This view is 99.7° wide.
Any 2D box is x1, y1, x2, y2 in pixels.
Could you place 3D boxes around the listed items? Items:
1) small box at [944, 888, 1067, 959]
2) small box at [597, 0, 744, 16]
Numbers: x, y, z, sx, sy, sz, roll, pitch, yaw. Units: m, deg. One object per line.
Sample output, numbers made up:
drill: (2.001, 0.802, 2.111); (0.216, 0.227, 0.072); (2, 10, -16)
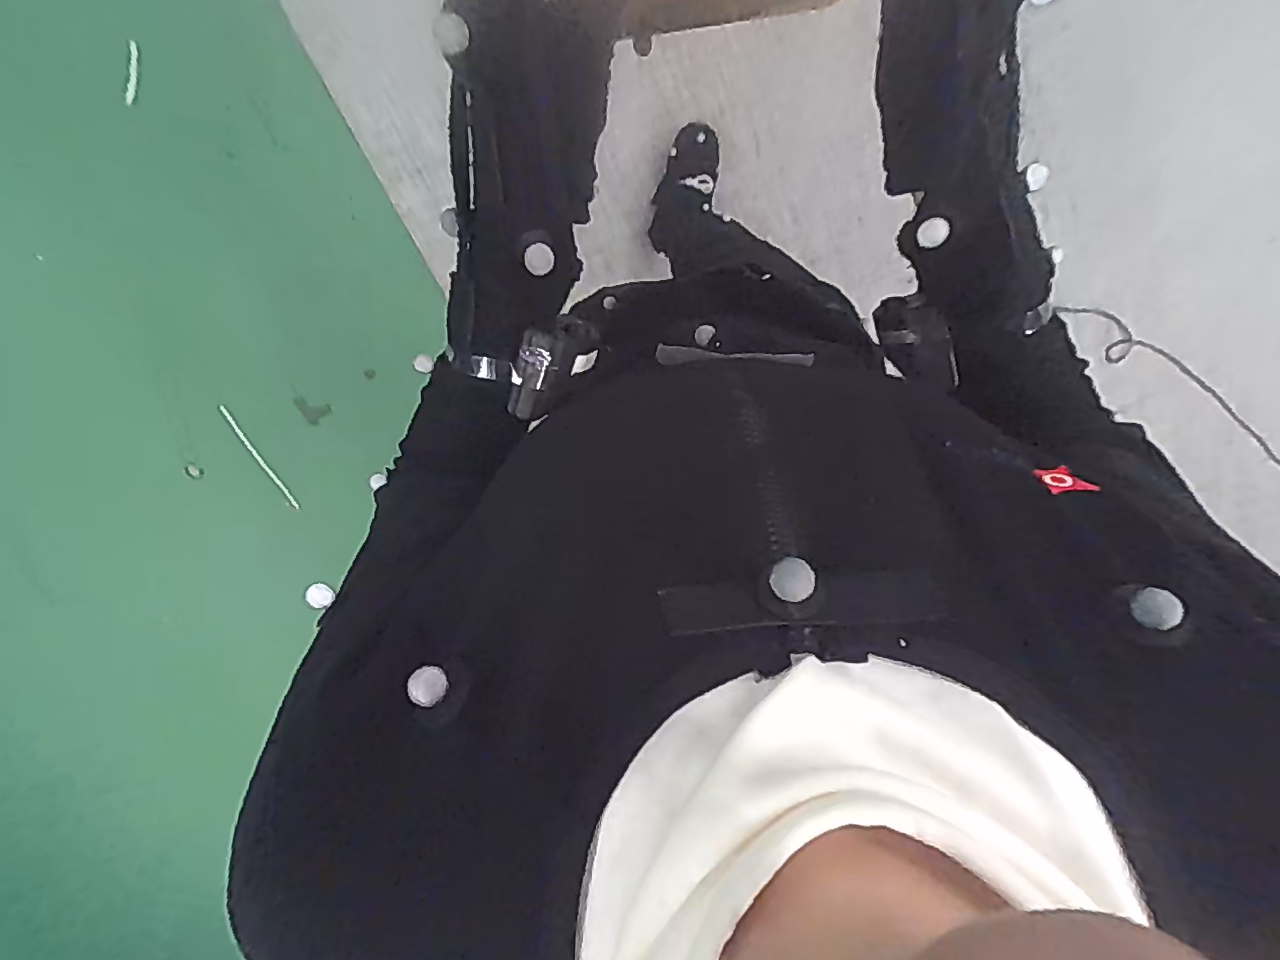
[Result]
small box: (0.725, 0.938, 1.040); (0.168, 0.176, 0.179); (-26, 112, 8)
small box: (0.041, -0.348, 0.251); (0.168, 0.176, 0.179); (-7, 119, 2)
